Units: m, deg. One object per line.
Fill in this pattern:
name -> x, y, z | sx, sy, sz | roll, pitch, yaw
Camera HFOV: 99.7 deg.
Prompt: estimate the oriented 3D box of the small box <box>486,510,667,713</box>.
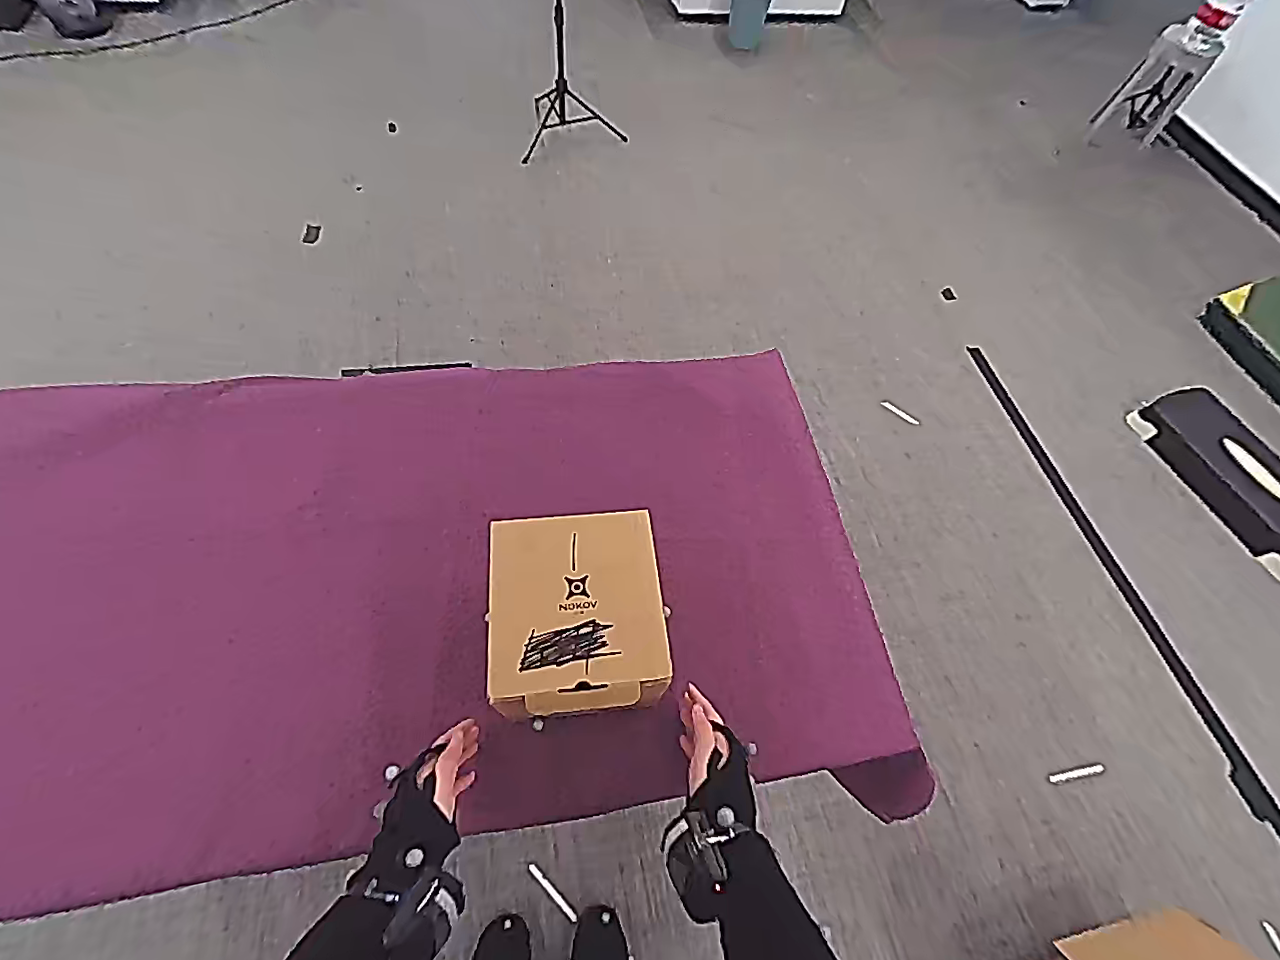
small box -> -0.068, 0.150, 0.590 | 0.168, 0.176, 0.179 | -3, 60, -7
